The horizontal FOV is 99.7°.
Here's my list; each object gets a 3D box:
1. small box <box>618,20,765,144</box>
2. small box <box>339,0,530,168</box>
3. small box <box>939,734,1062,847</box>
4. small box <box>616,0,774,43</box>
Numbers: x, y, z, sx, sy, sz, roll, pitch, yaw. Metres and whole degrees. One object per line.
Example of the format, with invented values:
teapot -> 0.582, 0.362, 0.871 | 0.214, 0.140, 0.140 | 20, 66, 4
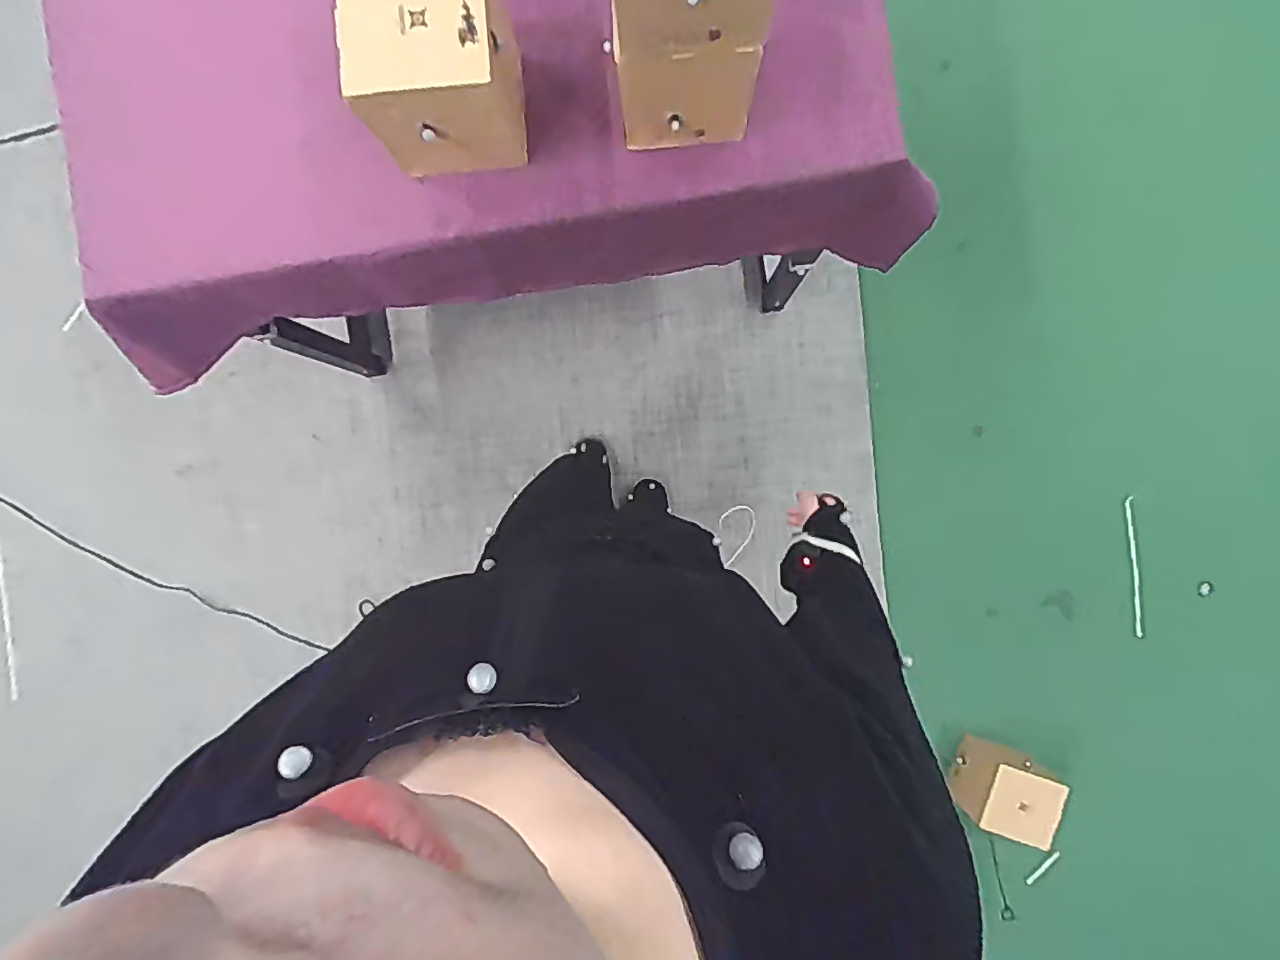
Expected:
small box -> 0.057, -0.565, 0.683 | 0.168, 0.176, 0.179 | -3, 91, 2
small box -> -0.252, -0.529, 0.693 | 0.179, 0.176, 0.168 | -4, 90, 3
small box -> 0.915, 0.785, 1.387 | 0.179, 0.176, 0.168 | 19, 91, 2
small box -> 0.052, -0.564, 0.518 | 0.168, 0.176, 0.179 | -4, 90, 2
